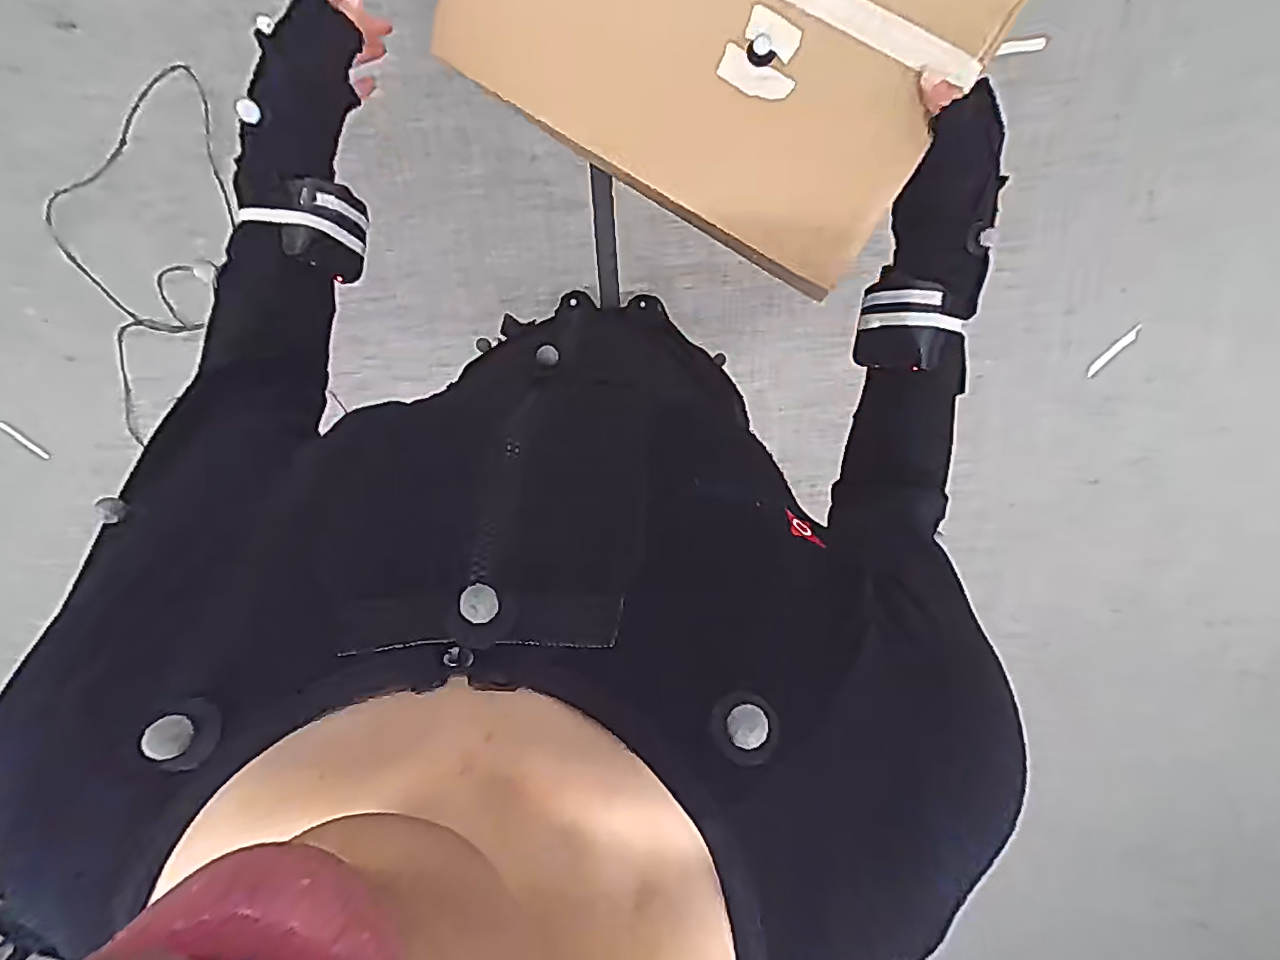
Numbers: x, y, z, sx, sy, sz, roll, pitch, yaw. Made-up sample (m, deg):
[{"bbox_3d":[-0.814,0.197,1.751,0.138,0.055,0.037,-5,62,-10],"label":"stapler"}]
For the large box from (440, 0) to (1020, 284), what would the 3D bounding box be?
[{"bbox_3d":[0.101,-0.432,0.526,0.408,0.320,0.320,32,114,4],"label":"large box"}]
